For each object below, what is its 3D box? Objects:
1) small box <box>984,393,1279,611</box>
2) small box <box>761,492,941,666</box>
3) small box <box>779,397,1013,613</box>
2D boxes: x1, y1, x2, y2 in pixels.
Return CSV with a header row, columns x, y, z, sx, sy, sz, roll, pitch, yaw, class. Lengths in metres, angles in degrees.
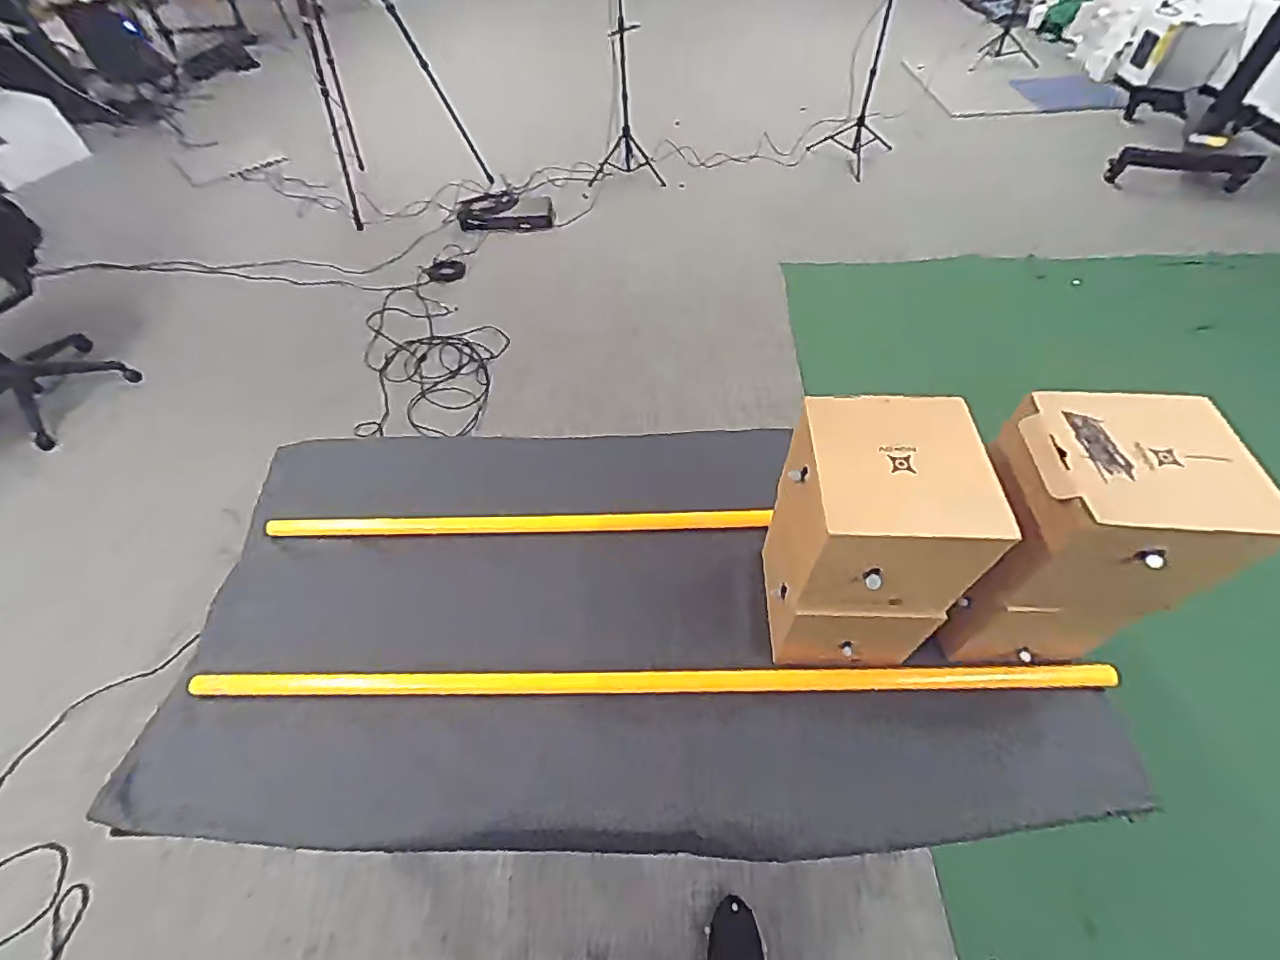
x,y,z,sx,sy,sz,roll,pitch,yaw,class
0.479,0.027,0.569,0.179,0.176,0.168,3,54,4,small box
0.257,0.133,0.708,0.168,0.176,0.179,1,53,3,small box
0.249,0.032,0.581,0.168,0.176,0.179,0,52,4,small box
